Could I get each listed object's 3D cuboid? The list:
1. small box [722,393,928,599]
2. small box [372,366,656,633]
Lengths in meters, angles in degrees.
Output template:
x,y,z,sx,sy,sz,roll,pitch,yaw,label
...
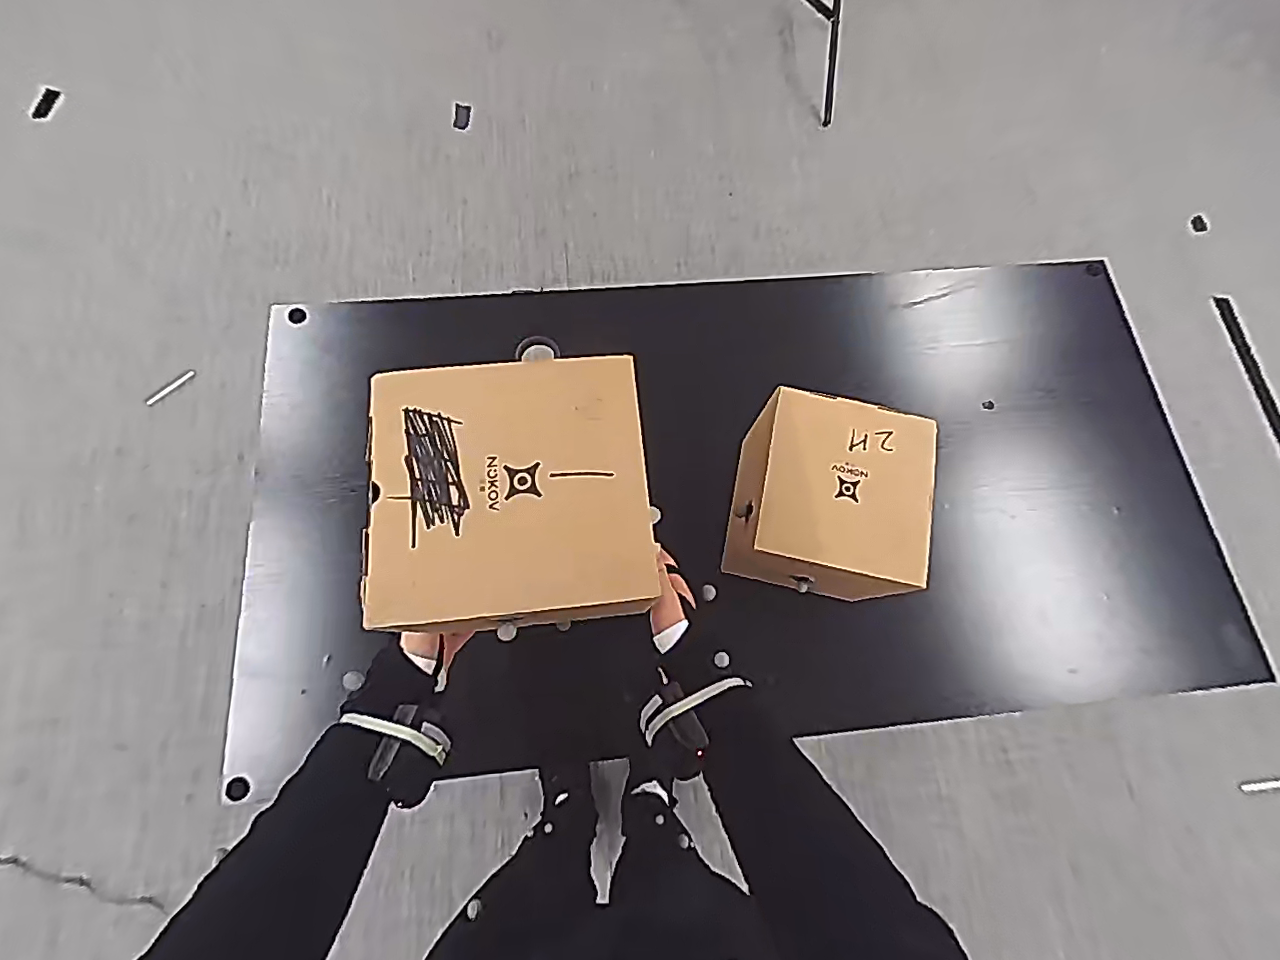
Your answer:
x,y,z,sx,sy,sz,roll,pitch,yaw,label
0.197,0.030,0.613,0.168,0.176,0.179,13,72,1,small box
-0.086,0.028,0.428,0.179,0.176,0.168,-5,74,-5,small box
